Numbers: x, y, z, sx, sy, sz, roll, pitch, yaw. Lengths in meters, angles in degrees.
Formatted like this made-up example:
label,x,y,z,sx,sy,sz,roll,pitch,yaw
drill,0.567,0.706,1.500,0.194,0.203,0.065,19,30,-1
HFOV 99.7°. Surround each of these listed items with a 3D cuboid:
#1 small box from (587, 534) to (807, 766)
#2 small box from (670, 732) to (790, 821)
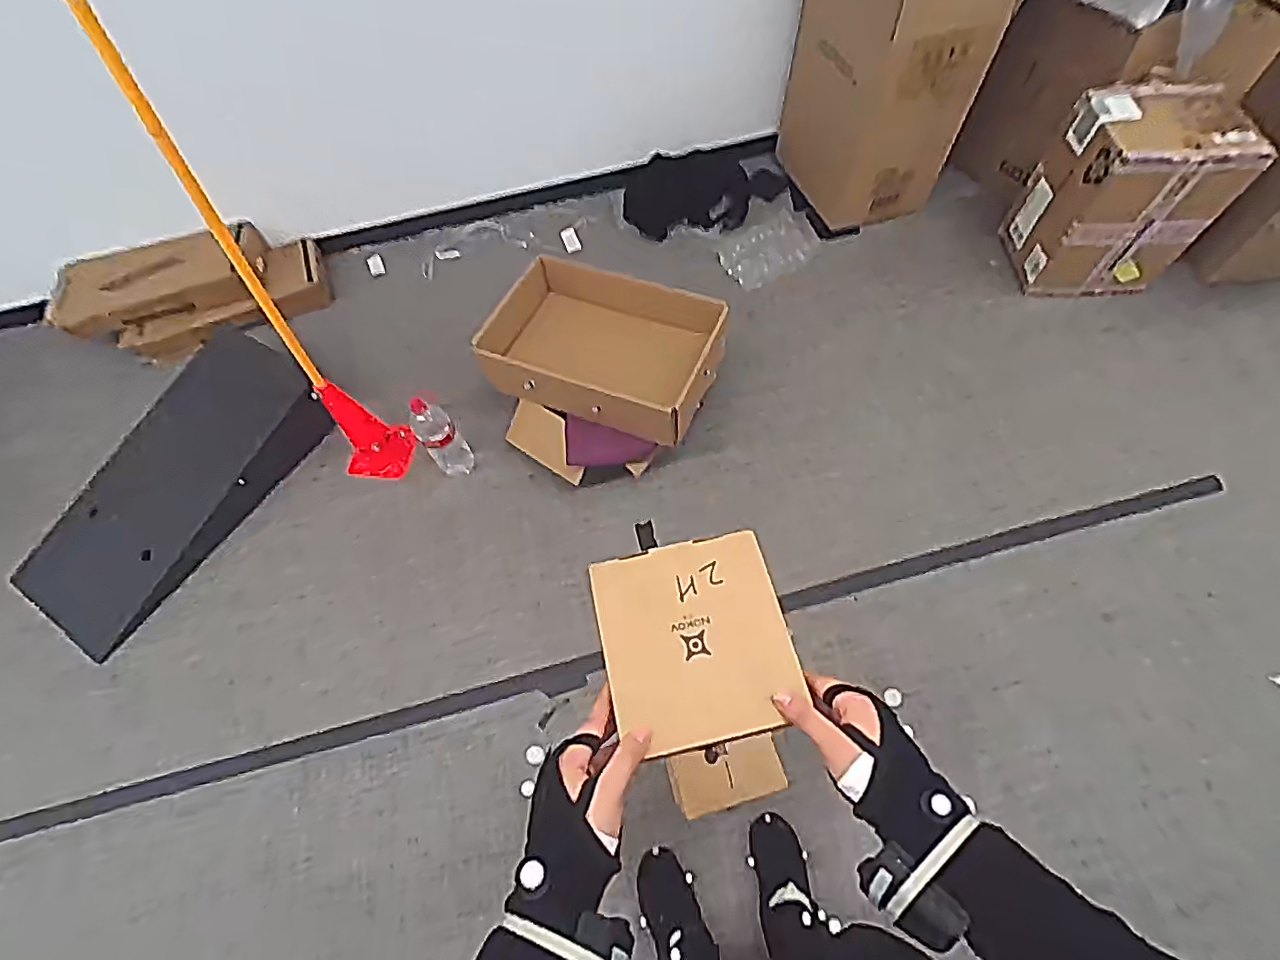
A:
label,x,y,z,sx,sy,sz,roll,pitch,yaw
small box,0.051,0.180,0.557,0.168,0.176,0.179,-13,61,-4
small box,0.134,0.460,0.927,0.168,0.176,0.179,-16,61,-4
